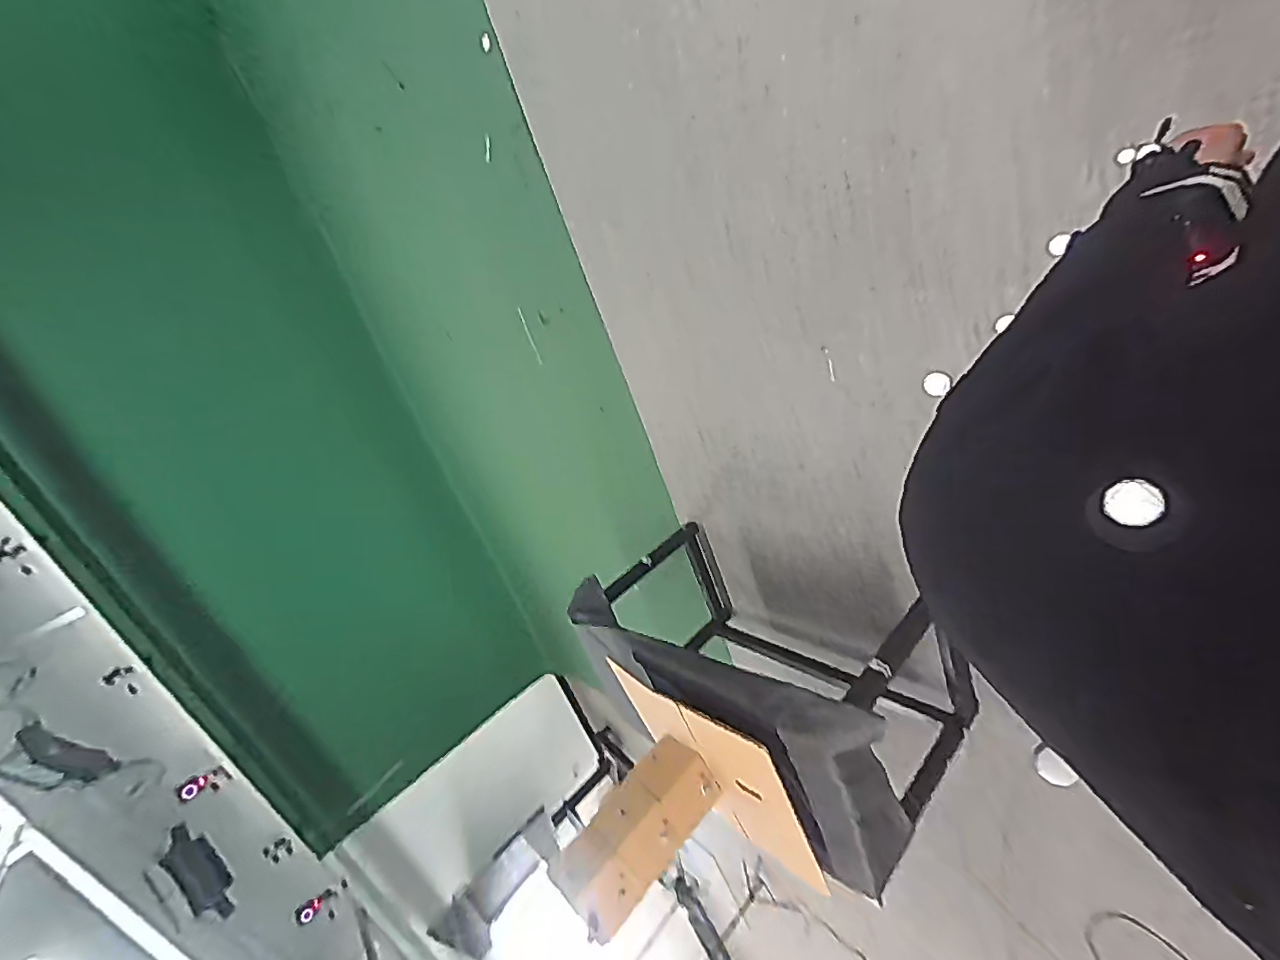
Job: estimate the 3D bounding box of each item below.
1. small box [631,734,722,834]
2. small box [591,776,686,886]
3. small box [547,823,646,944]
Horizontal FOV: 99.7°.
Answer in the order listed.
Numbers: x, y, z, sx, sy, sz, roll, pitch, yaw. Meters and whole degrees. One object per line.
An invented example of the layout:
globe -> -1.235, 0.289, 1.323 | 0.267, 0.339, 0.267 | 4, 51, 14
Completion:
small box -> 0.111, 0.895, 1.614 | 0.179, 0.176, 0.168 | -6, 118, 57
small box -> -0.003, 0.985, 1.538 | 0.179, 0.176, 0.168 | -7, 117, 58
small box -> -0.115, 1.078, 1.465 | 0.179, 0.176, 0.168 | -9, 116, 58
